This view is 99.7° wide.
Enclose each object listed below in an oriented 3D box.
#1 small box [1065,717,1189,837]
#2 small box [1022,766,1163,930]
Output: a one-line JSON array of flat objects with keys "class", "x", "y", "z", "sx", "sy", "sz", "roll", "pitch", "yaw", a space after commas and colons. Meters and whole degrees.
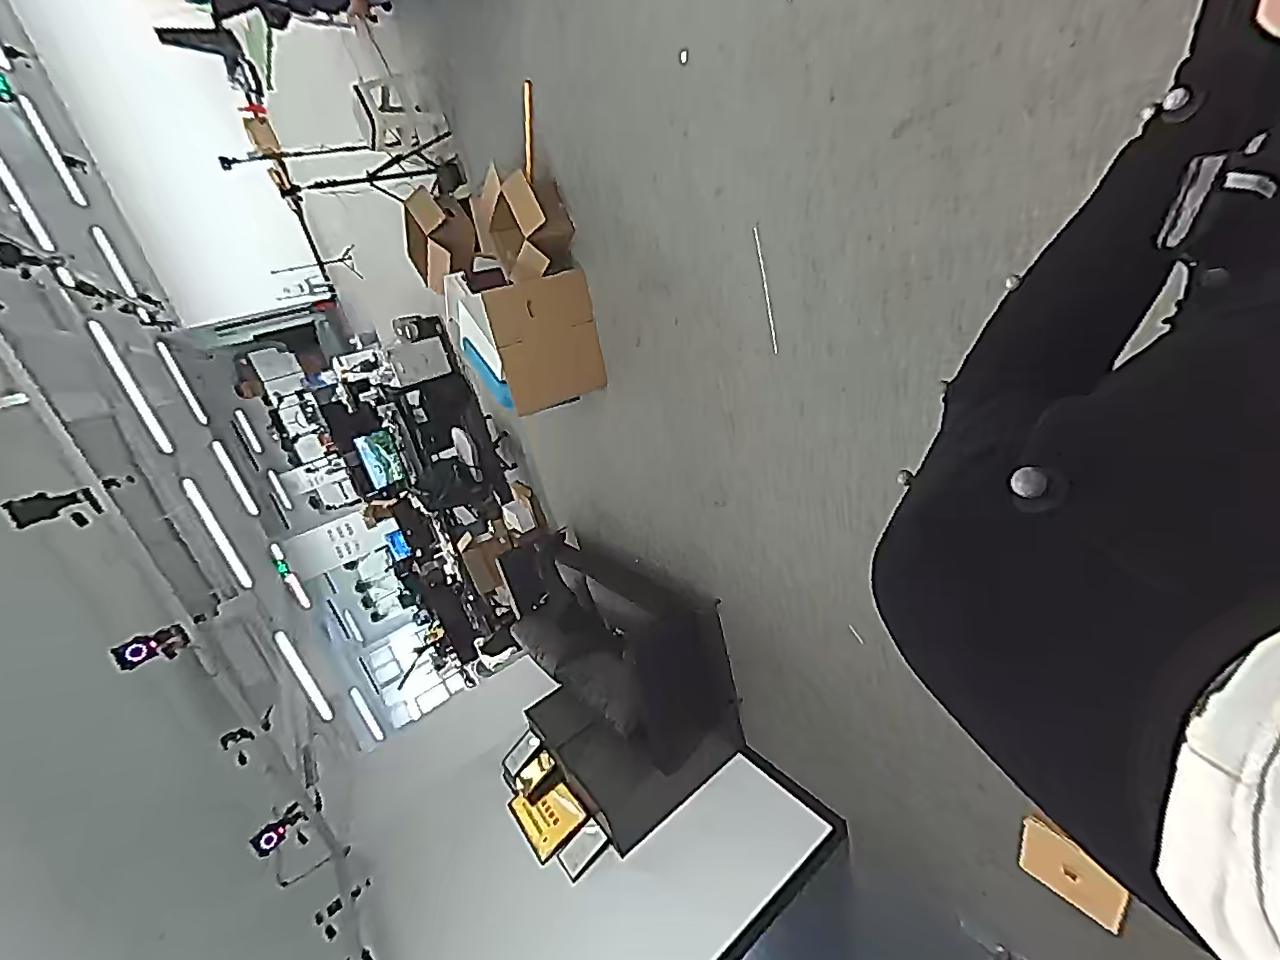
[{"class": "small box", "x": 1.026, "y": 0.651, "z": 1.155, "sx": 0.168, "sy": 0.176, "sz": 0.179, "roll": 23, "pitch": 133, "yaw": 50}, {"class": "small box", "x": 0.900, "y": 0.720, "z": 1.079, "sx": 0.168, "sy": 0.176, "sz": 0.179, "roll": 23, "pitch": 133, "yaw": 51}]
